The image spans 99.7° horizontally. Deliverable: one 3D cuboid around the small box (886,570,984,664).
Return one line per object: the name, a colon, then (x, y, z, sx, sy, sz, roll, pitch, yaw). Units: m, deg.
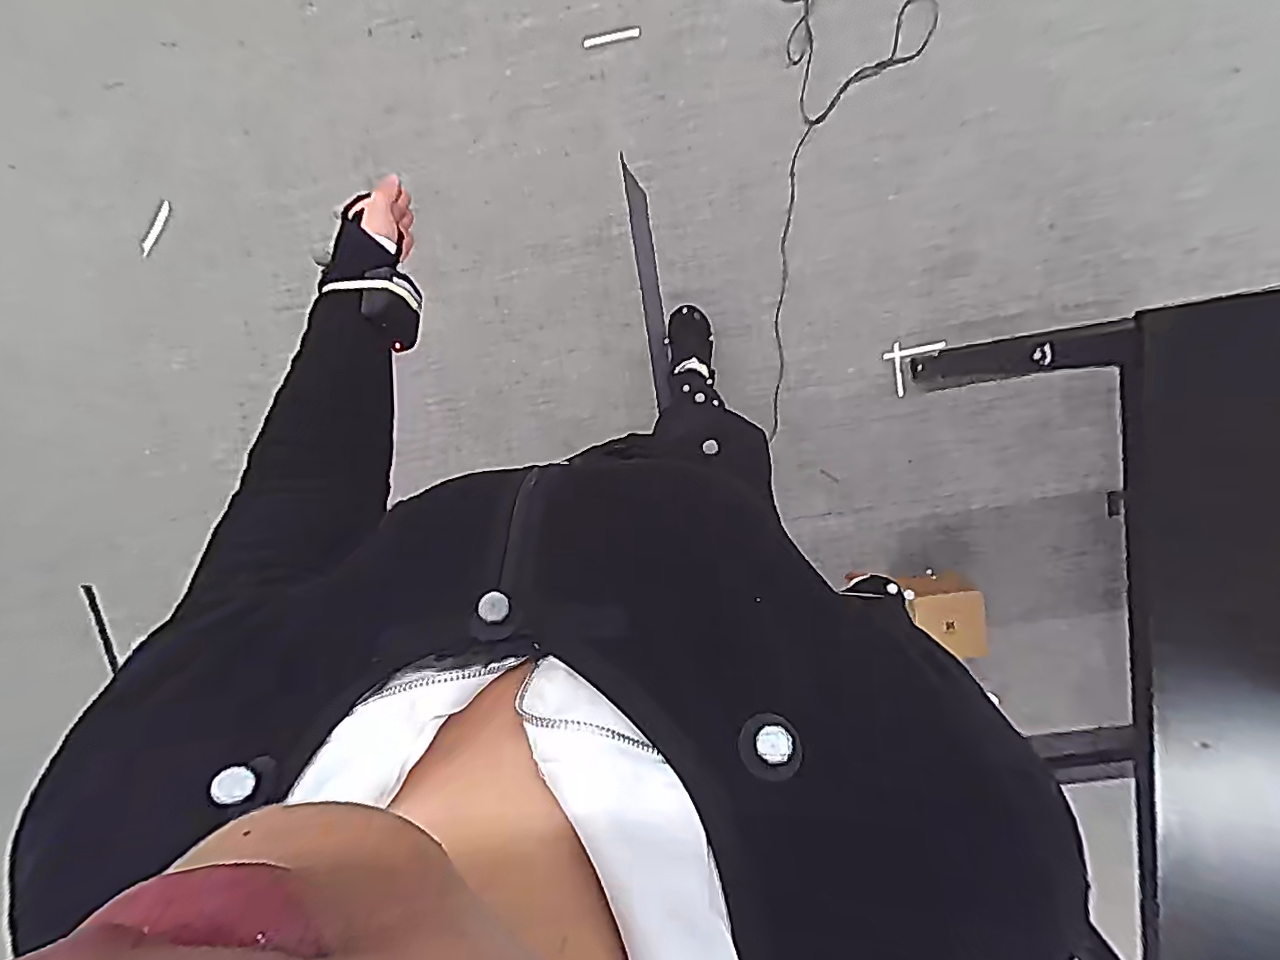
small box: (0.756, 0.348, 1.398, 0.168, 0.176, 0.179, -9, 97, 5)
